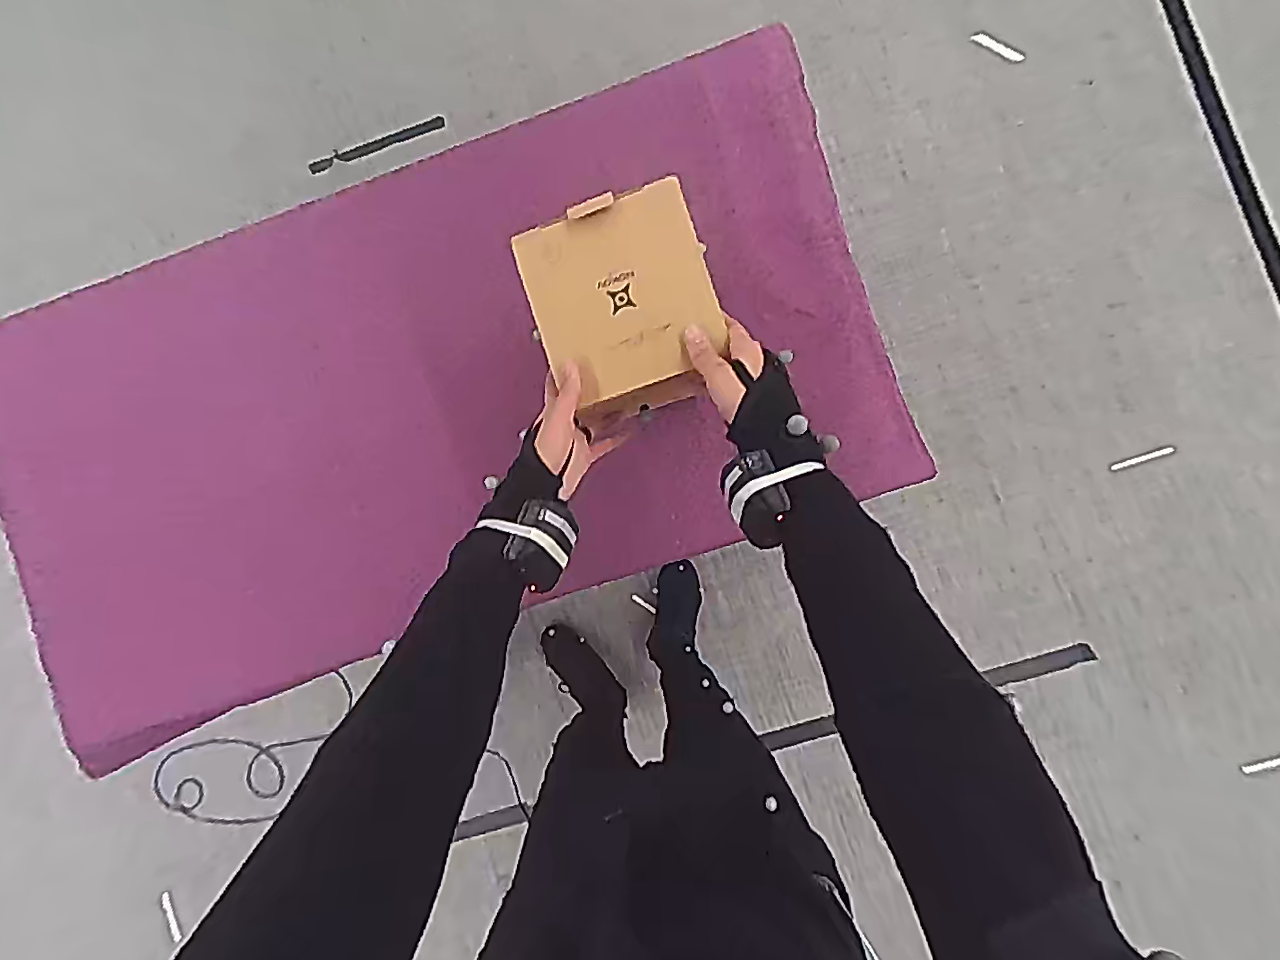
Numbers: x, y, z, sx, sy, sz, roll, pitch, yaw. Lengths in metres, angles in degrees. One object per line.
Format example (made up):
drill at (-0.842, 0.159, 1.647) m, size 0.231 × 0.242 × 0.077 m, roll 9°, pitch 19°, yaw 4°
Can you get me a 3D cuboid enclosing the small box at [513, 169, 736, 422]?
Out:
small box at (-0.009, -0.171, 0.562) m, size 0.168 × 0.176 × 0.179 m, roll -17°, pitch 89°, yaw 6°
